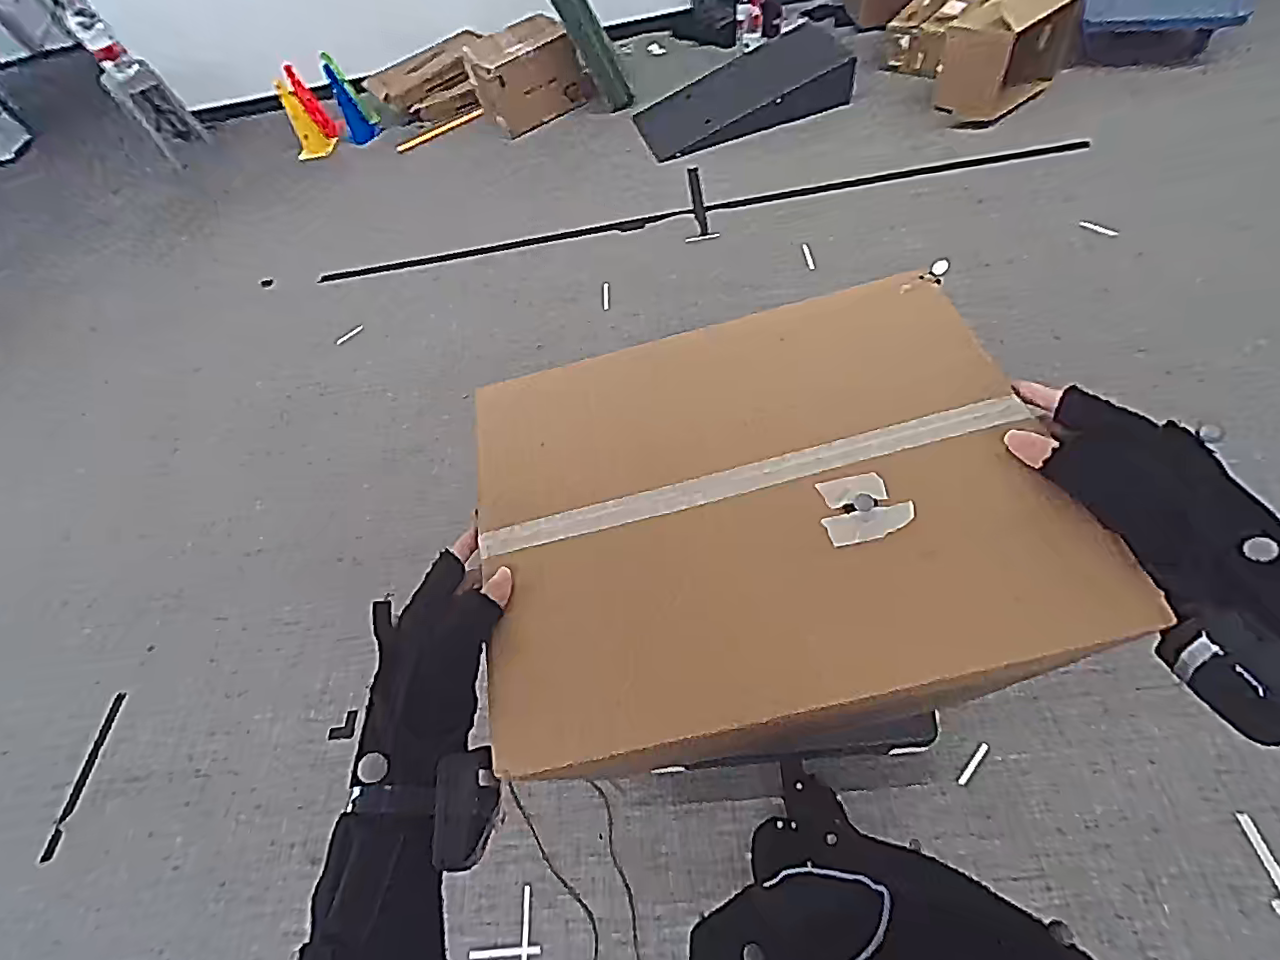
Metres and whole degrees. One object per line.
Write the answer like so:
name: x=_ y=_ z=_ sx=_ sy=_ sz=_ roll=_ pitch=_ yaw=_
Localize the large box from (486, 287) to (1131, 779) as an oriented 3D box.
large box: x=0.103 y=0.078 z=0.538 sx=0.408 sy=0.320 sz=0.320 roll=-15 pitch=60 yaw=2
